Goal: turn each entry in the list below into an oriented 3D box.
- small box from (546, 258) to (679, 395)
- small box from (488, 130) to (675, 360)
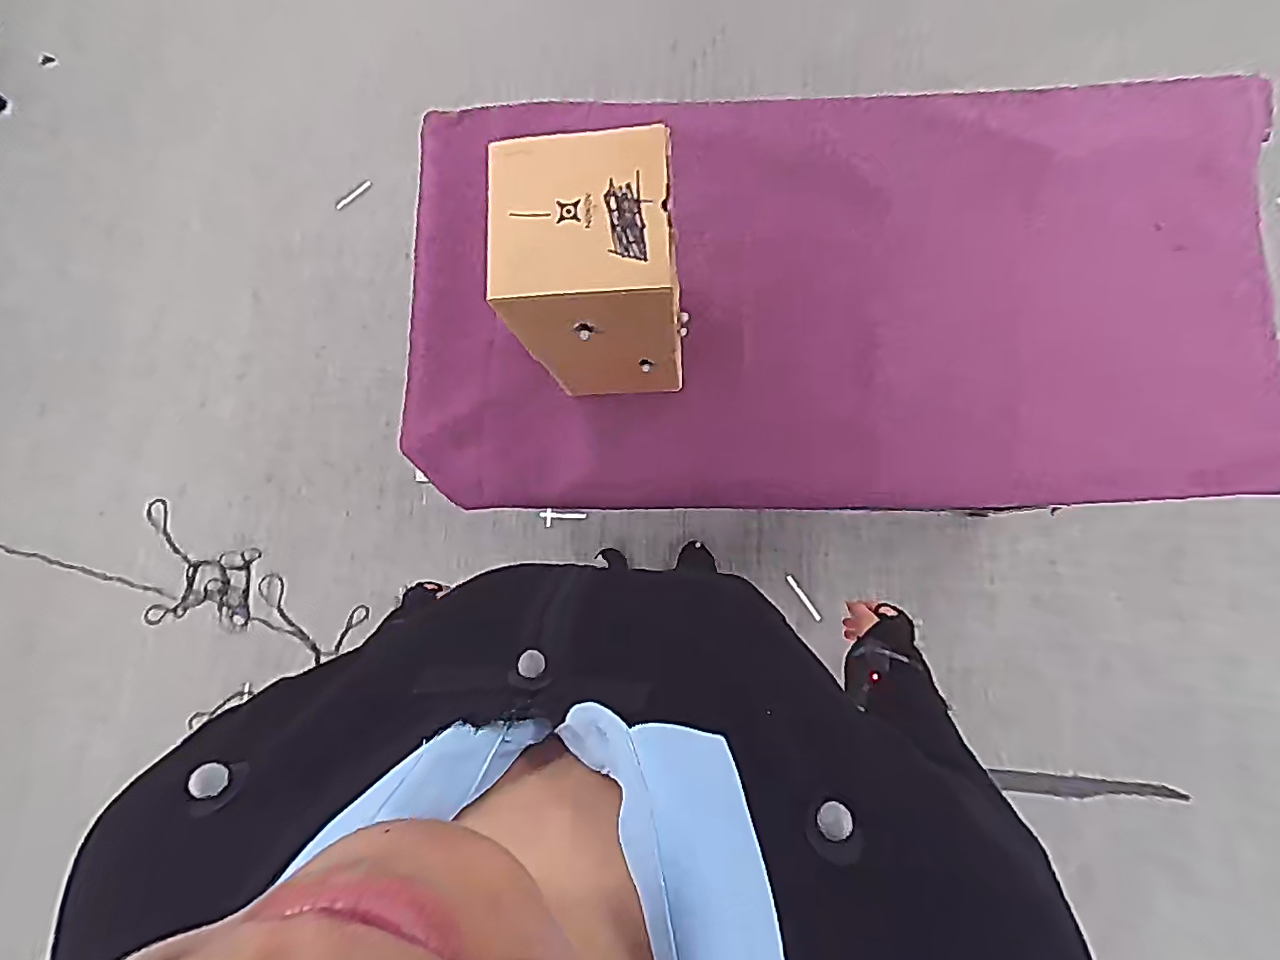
[{"bbox_3d":[-0.037,-0.221,0.752,0.179,0.176,0.168,-2,82,5],"label":"small box"},{"bbox_3d":[-0.051,-0.238,0.588,0.179,0.176,0.168,-2,82,5],"label":"small box"}]
